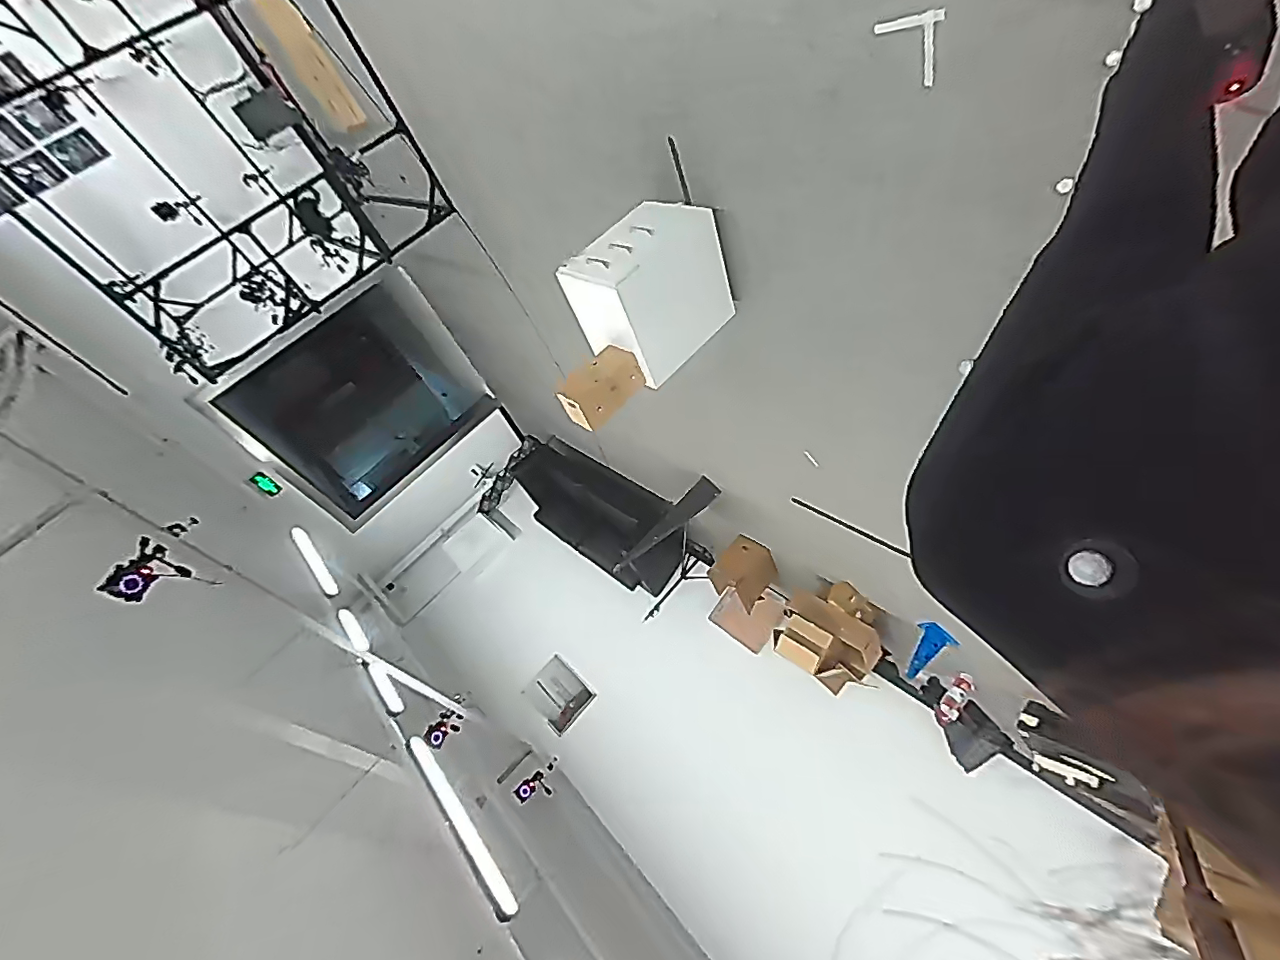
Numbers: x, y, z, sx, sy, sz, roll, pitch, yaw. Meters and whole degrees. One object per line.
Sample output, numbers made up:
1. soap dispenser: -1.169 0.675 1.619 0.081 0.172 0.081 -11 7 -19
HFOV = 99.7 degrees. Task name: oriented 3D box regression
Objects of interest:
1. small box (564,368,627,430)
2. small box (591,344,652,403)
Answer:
1. small box: -0.185 -0.349 2.299 0.168 0.176 0.179 32 161 40
2. small box: -0.077 -0.465 2.344 0.179 0.176 0.168 32 160 41
